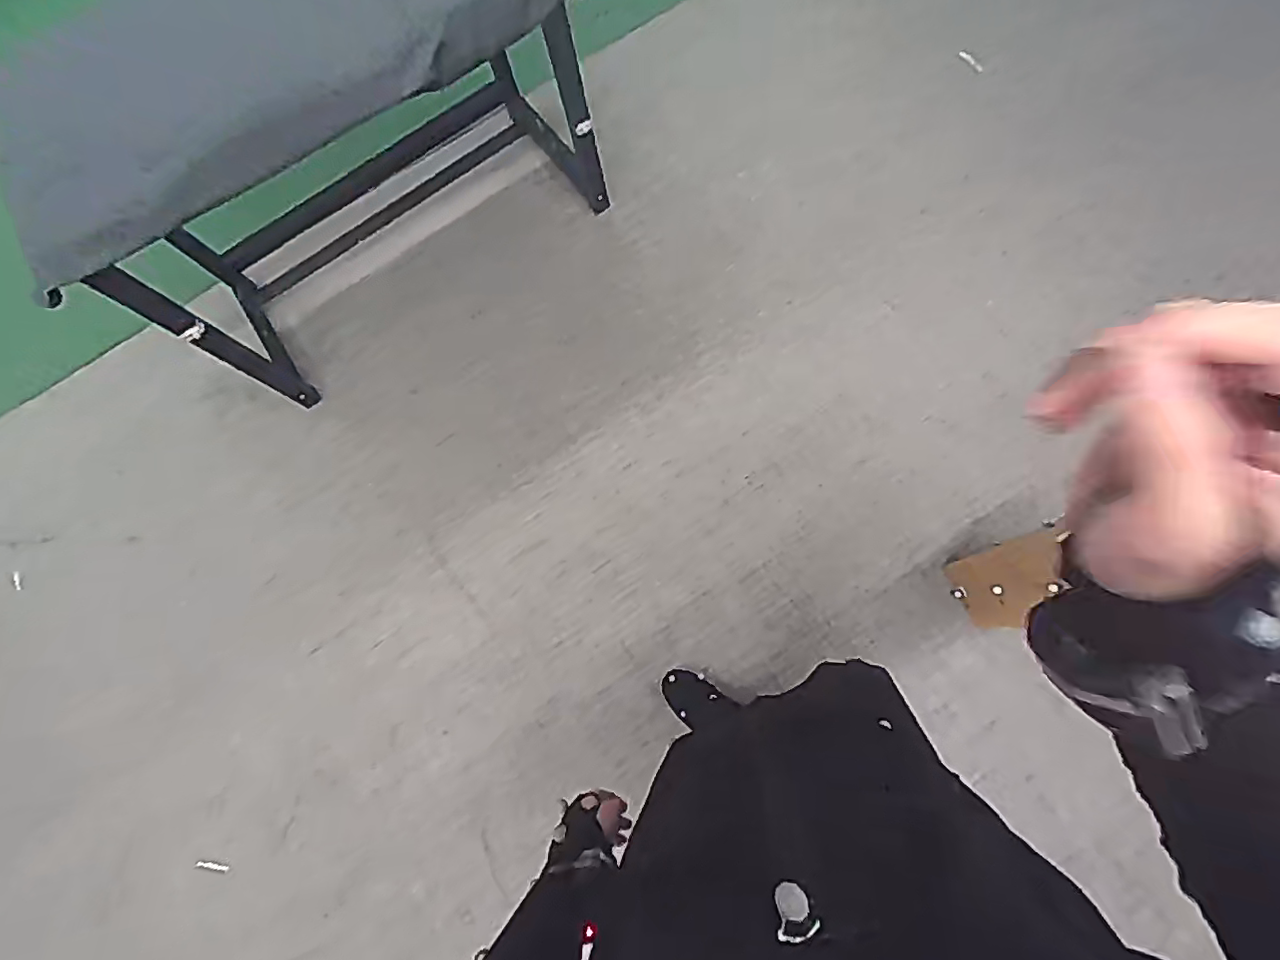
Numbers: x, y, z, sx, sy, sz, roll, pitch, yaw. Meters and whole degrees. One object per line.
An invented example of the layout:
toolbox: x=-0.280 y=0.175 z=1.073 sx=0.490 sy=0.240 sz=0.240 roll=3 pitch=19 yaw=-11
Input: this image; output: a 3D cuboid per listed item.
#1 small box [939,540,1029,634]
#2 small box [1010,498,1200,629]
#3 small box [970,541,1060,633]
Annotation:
small box: x=0.869 y=0.260 z=1.302 sx=0.179 sy=0.176 sz=0.168 roll=-23 pitch=72 yaw=0
small box: x=0.827 y=0.162 z=0.992 sx=0.179 sy=0.176 sz=0.168 roll=-30 pitch=72 yaw=-3
small box: x=0.853 y=0.215 z=1.144 sx=0.179 sy=0.176 sz=0.168 roll=-22 pitch=72 yaw=0
